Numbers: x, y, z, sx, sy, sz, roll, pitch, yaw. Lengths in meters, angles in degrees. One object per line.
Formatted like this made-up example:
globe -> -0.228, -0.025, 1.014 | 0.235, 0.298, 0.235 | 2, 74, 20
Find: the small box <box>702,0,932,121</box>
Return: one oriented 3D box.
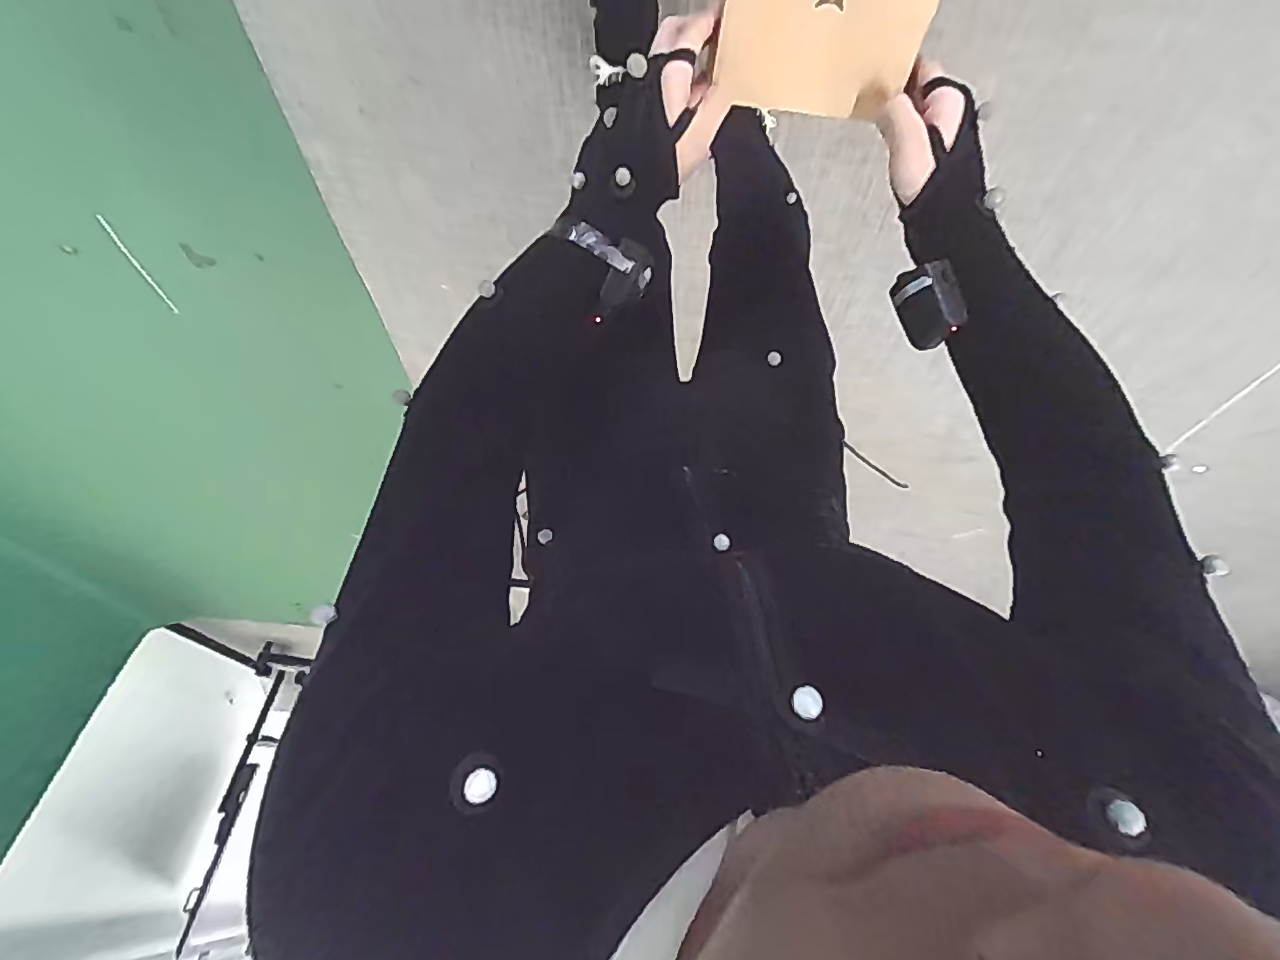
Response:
small box -> 0.150, -0.444, 0.459 | 0.168, 0.176, 0.179 | 6, 142, -3
